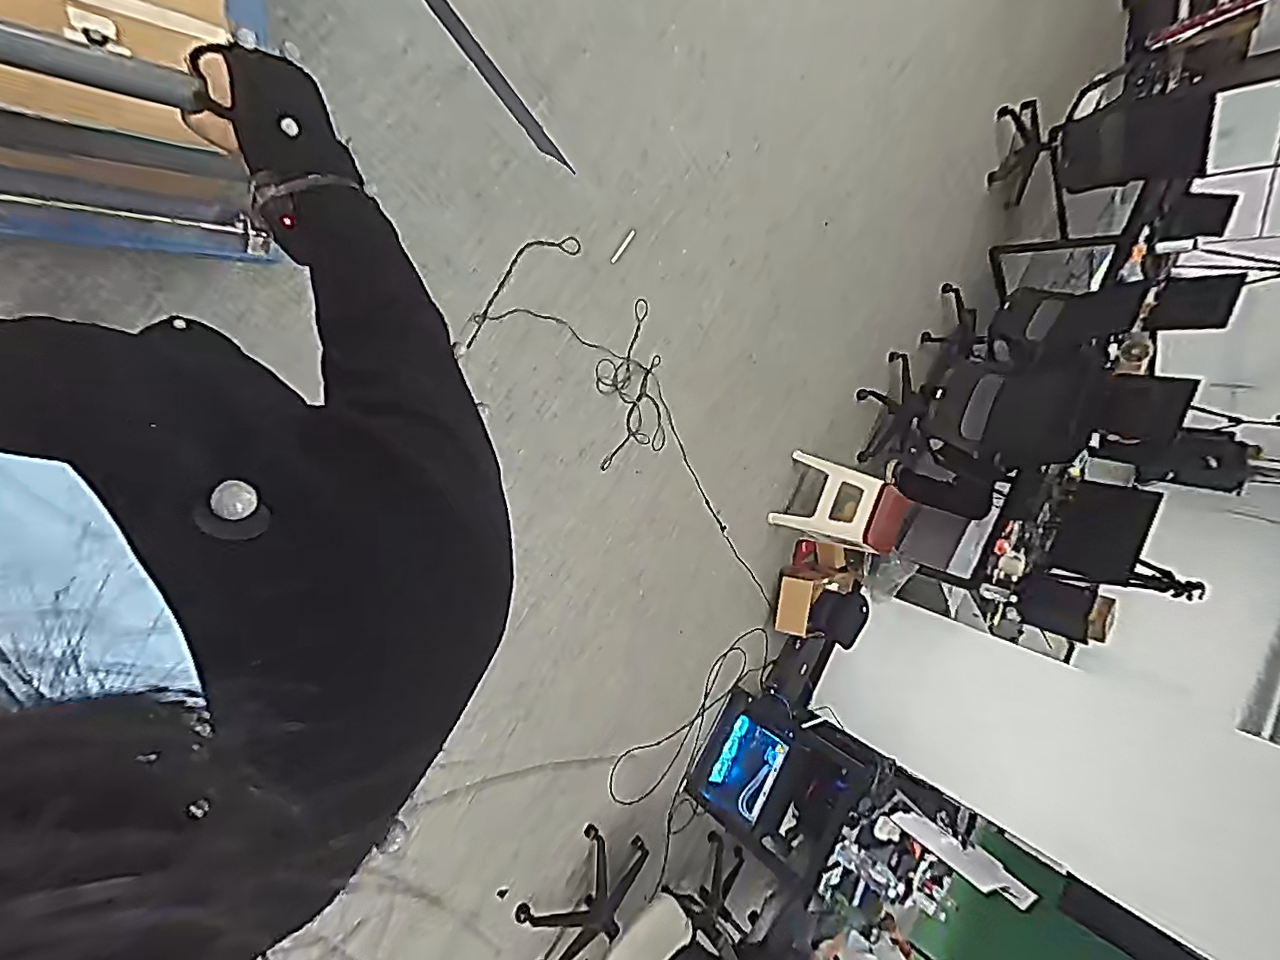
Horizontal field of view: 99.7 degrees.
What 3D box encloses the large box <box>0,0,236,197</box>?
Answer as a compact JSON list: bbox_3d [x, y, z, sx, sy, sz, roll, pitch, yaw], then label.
[{"bbox_3d":[-0.819,-0.605,0.715,0.408,0.320,0.320,-9,109,-41],"label":"large box"}]
